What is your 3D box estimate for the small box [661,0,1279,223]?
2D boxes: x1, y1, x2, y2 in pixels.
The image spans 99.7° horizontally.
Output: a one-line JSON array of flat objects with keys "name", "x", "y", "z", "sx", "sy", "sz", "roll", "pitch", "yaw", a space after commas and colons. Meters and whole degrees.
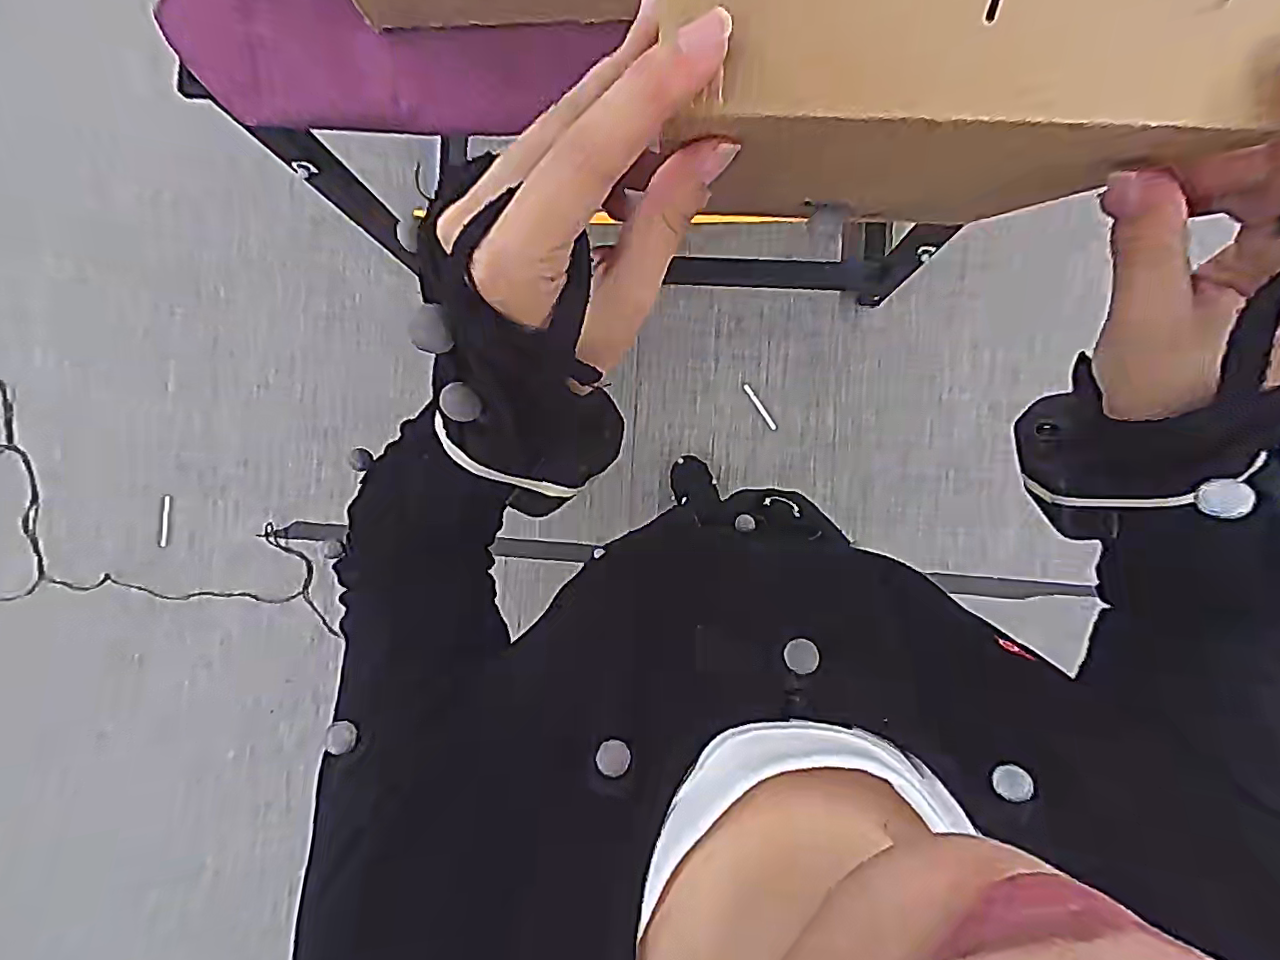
[{"name": "small box", "x": 0.094, "y": -0.201, "z": 0.191, "sx": 0.168, "sy": 0.176, "sz": 0.179, "roll": 3, "pitch": 109, "yaw": 2}]
